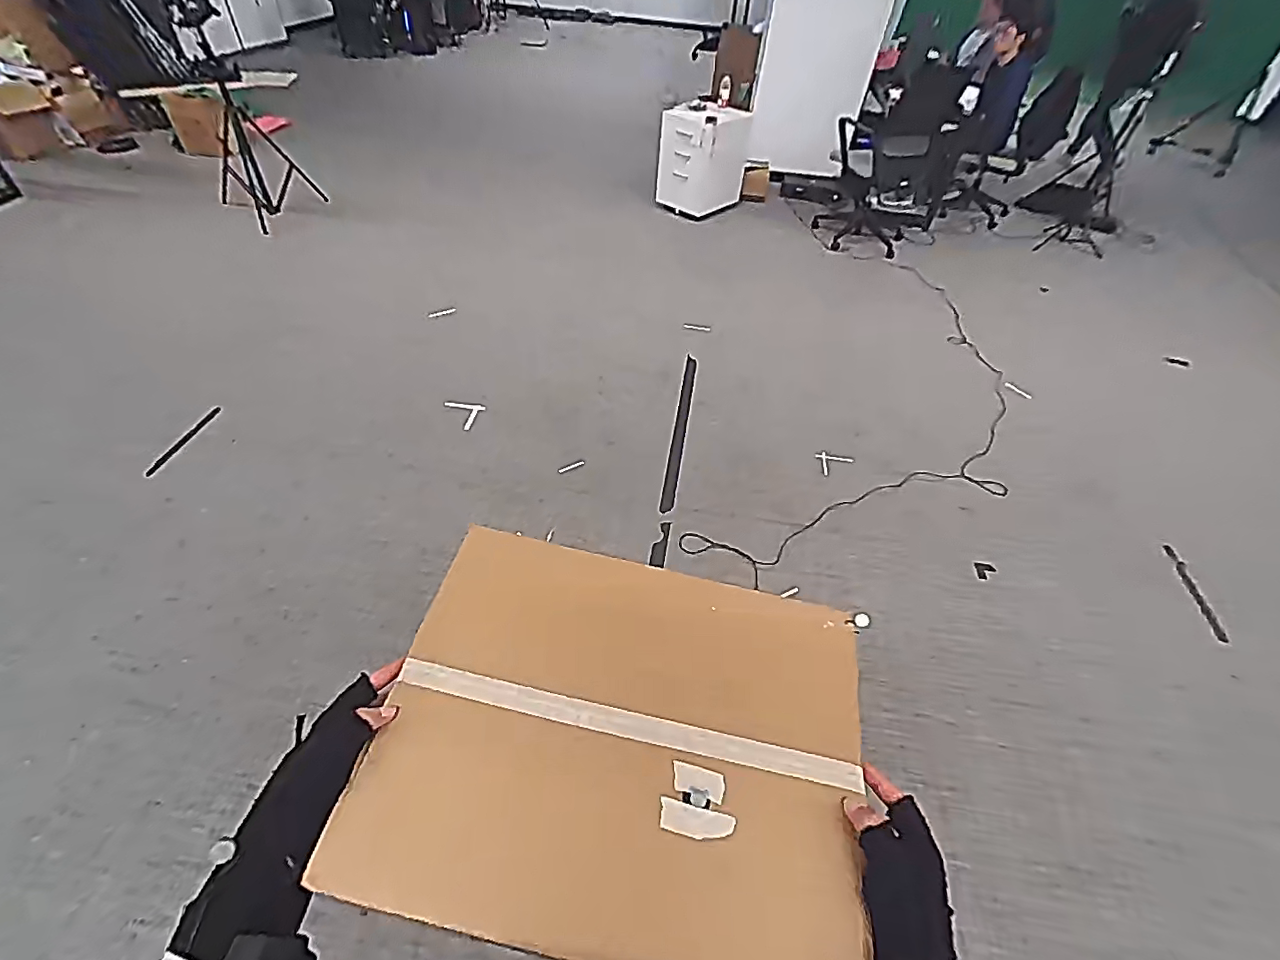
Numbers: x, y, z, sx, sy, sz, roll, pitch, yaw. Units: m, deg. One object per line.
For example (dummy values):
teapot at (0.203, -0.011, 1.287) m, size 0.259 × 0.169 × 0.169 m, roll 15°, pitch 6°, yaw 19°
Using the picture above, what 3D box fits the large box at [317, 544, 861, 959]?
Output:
large box at (-0.028, 0.314, 0.585) m, size 0.408 × 0.320 × 0.320 m, roll 13°, pitch 52°, yaw 3°
